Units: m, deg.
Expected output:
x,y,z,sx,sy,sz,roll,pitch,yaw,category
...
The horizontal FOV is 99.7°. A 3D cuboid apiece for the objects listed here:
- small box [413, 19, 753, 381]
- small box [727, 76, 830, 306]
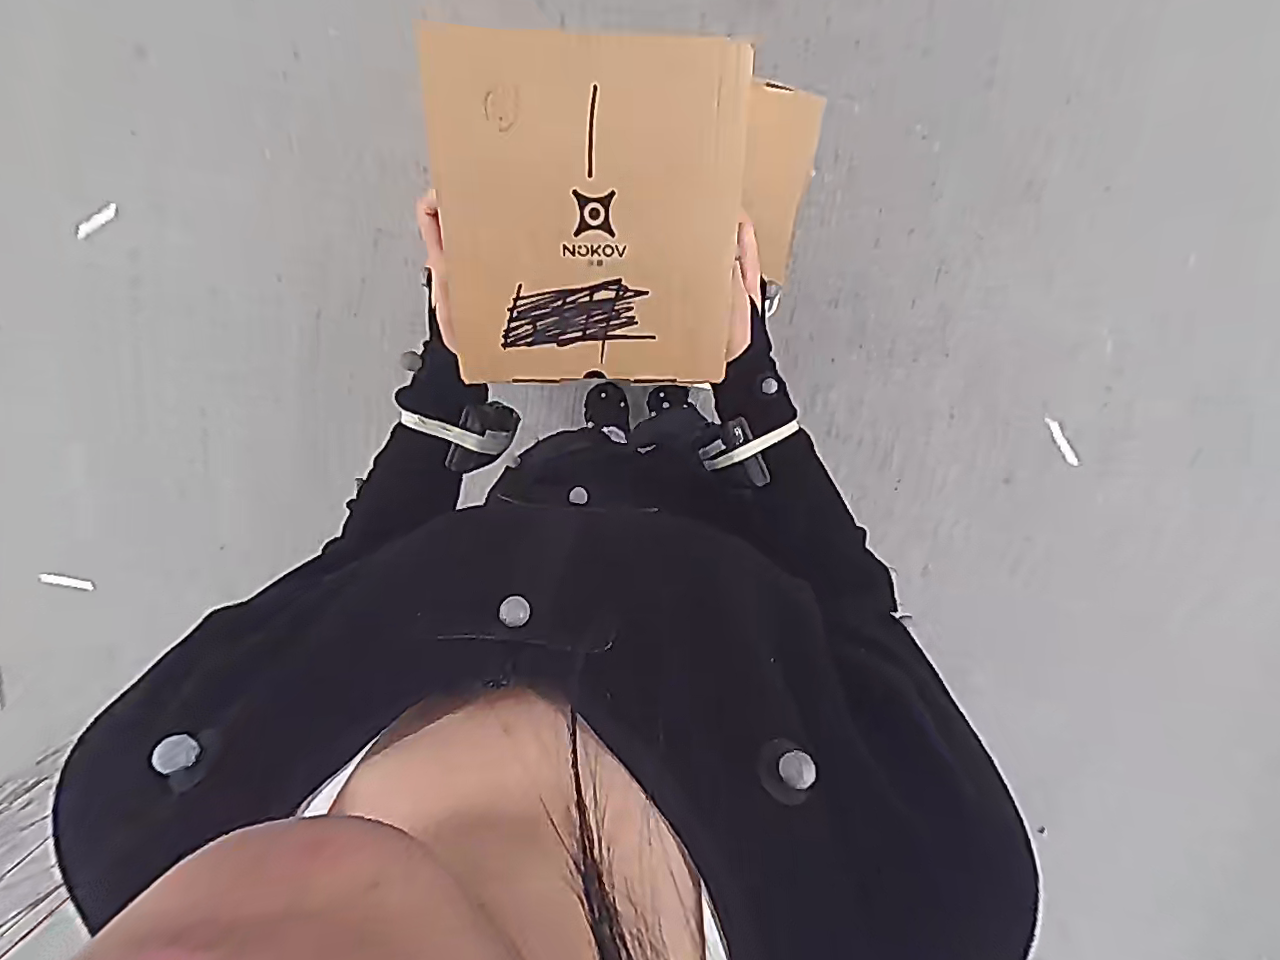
x,y,z,sx,sy,sz,roll,pitch,yaw,category
-0.034,-0.178,0.368,0.168,0.176,0.179,-2,118,-5,small box
0.081,-0.302,0.587,0.168,0.176,0.179,11,101,0,small box
